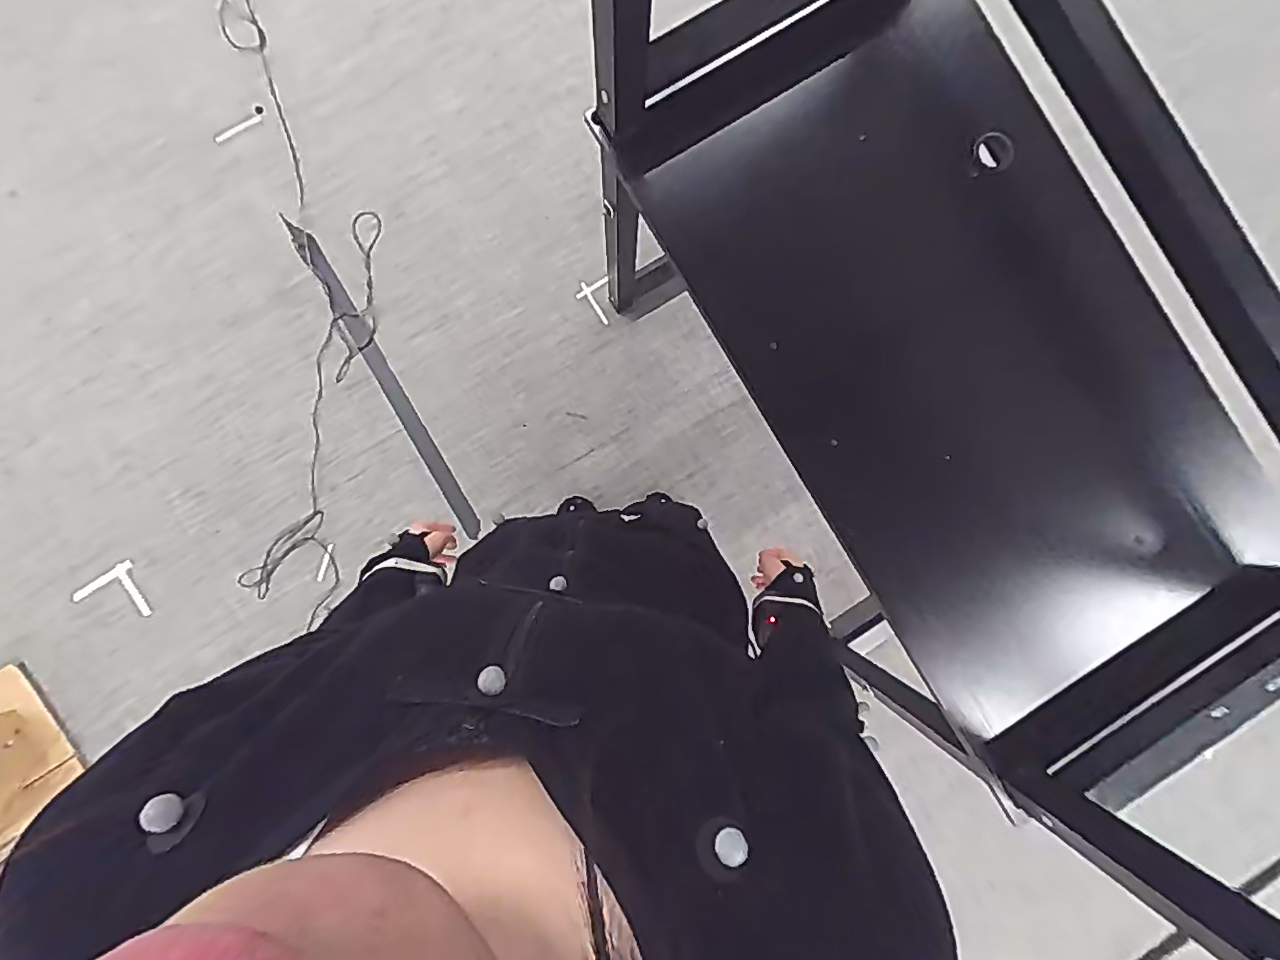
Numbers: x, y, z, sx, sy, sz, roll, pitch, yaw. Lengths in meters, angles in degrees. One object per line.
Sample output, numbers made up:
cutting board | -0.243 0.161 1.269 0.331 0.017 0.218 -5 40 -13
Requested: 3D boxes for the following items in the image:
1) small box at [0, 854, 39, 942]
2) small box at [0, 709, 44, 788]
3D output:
small box | -1.647 1.069 1.313 0.168 0.176 0.179 -23 91 -3
small box | -1.657 0.703 1.326 0.179 0.176 0.168 -32 91 -4
